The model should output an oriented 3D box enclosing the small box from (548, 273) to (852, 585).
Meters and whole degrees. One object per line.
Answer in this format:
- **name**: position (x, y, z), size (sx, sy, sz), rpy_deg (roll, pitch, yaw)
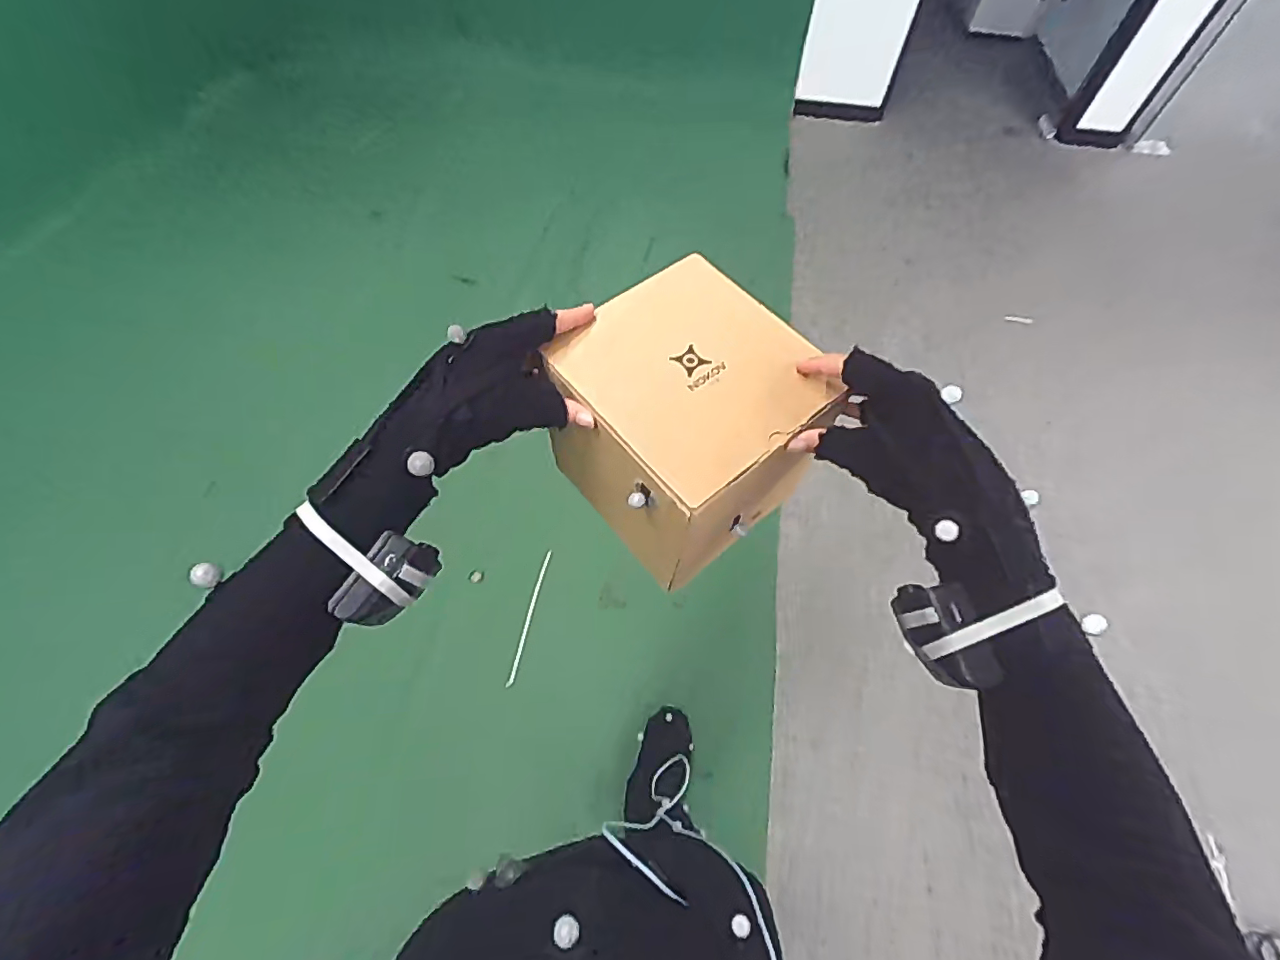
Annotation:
- **small box**: position (0.038, -0.038, 0.475), size (0.168, 0.176, 0.179), rpy_deg (-35, 69, -20)
